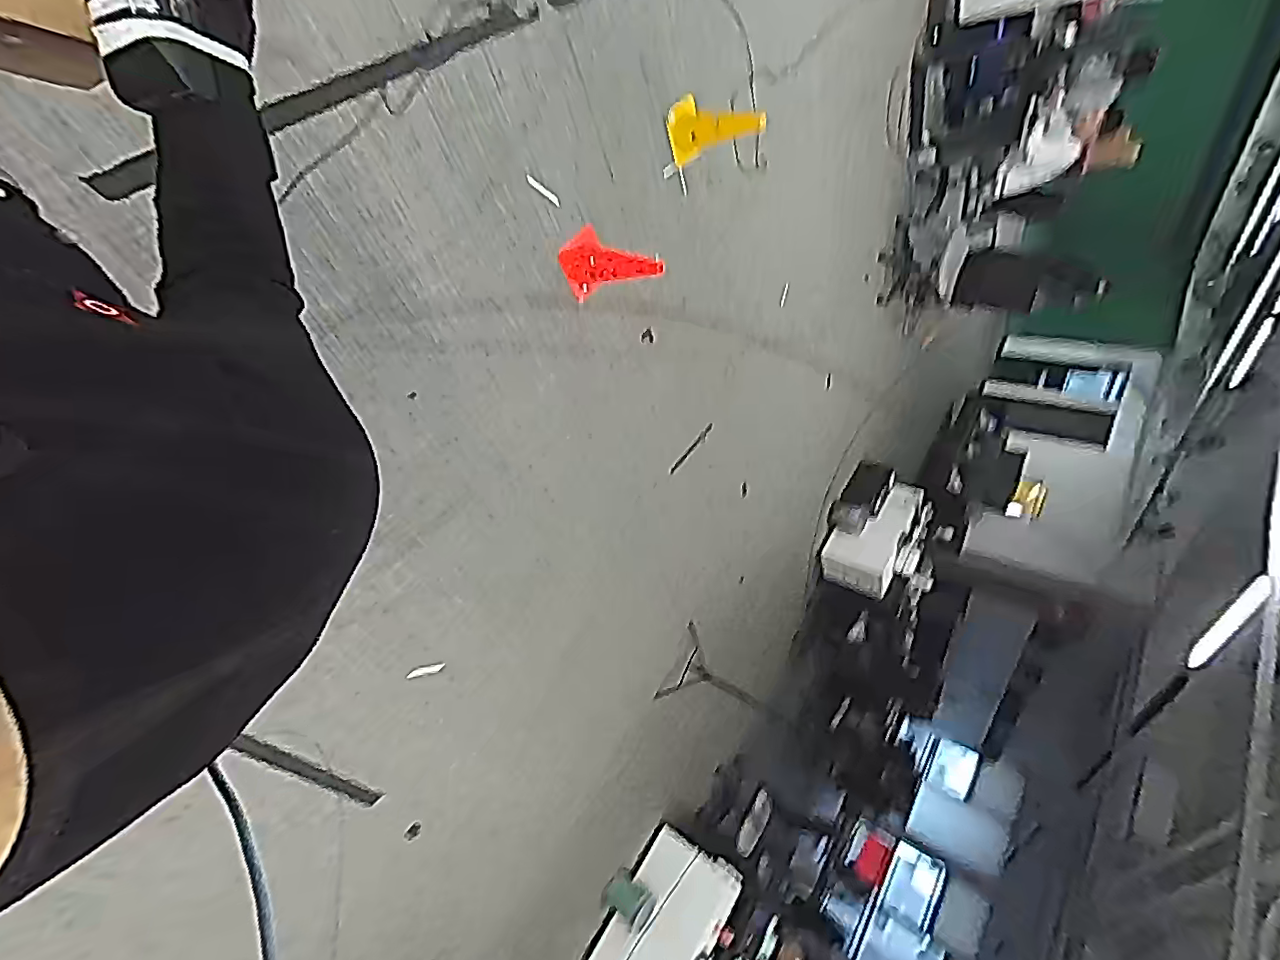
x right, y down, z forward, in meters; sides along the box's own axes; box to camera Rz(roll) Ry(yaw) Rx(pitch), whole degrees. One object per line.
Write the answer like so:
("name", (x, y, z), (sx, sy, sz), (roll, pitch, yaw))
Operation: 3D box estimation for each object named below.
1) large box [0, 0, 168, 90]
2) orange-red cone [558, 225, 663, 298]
("large box", (-0.550, -0.445, 0.264), (0.408, 0.320, 0.320), (-16, 123, -48))
("orange-red cone", (-0.072, -0.740, 1.842), (0.199, 0.360, 0.198), (-53, 141, -25))
